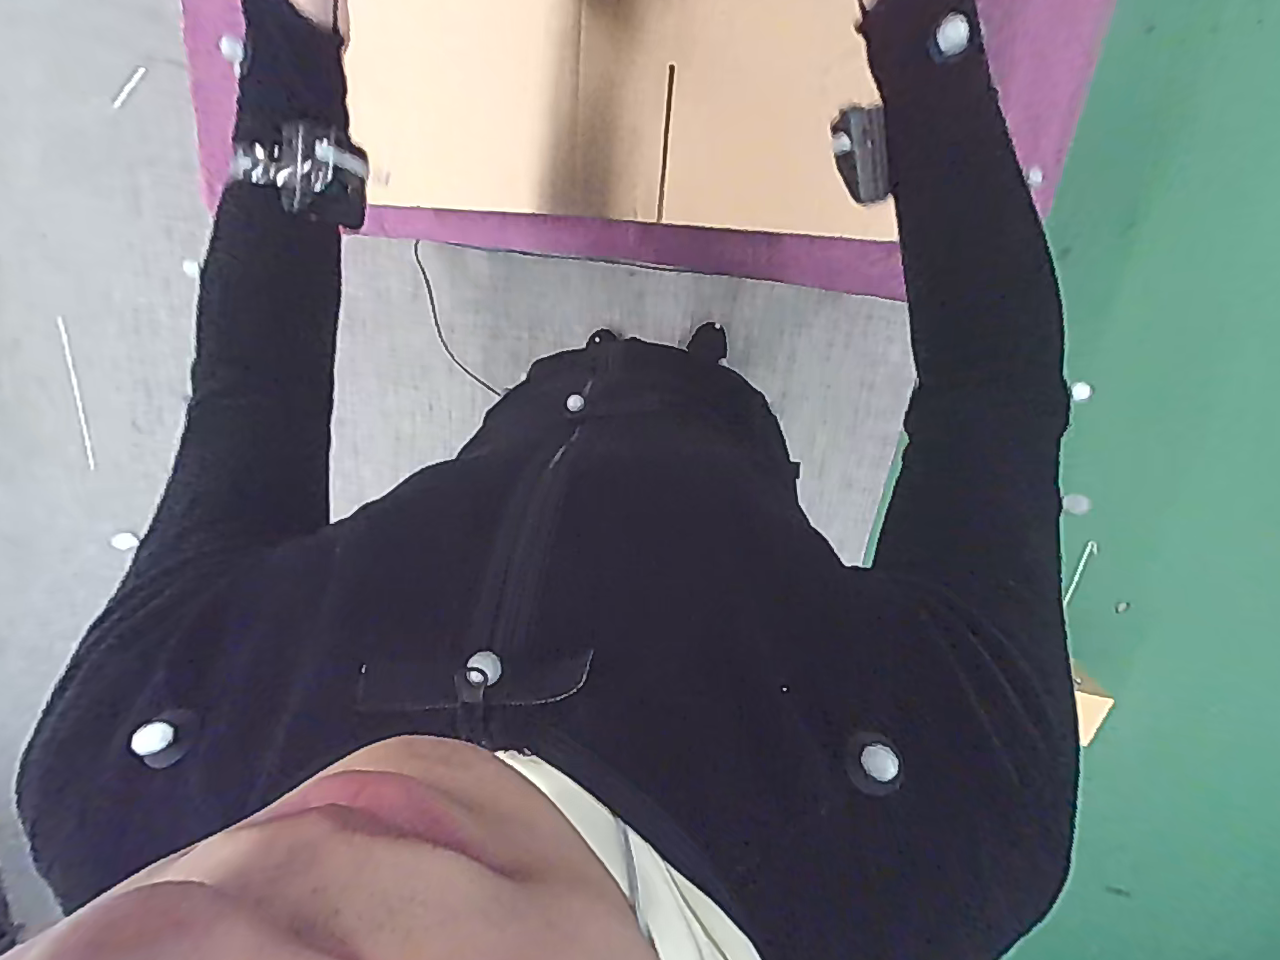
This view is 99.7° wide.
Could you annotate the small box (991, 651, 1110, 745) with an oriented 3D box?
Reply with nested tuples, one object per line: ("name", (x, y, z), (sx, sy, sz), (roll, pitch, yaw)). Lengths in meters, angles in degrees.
("small box", (1.156, 0.612, 1.537), (0.179, 0.176, 0.168), (13, 108, 0))
